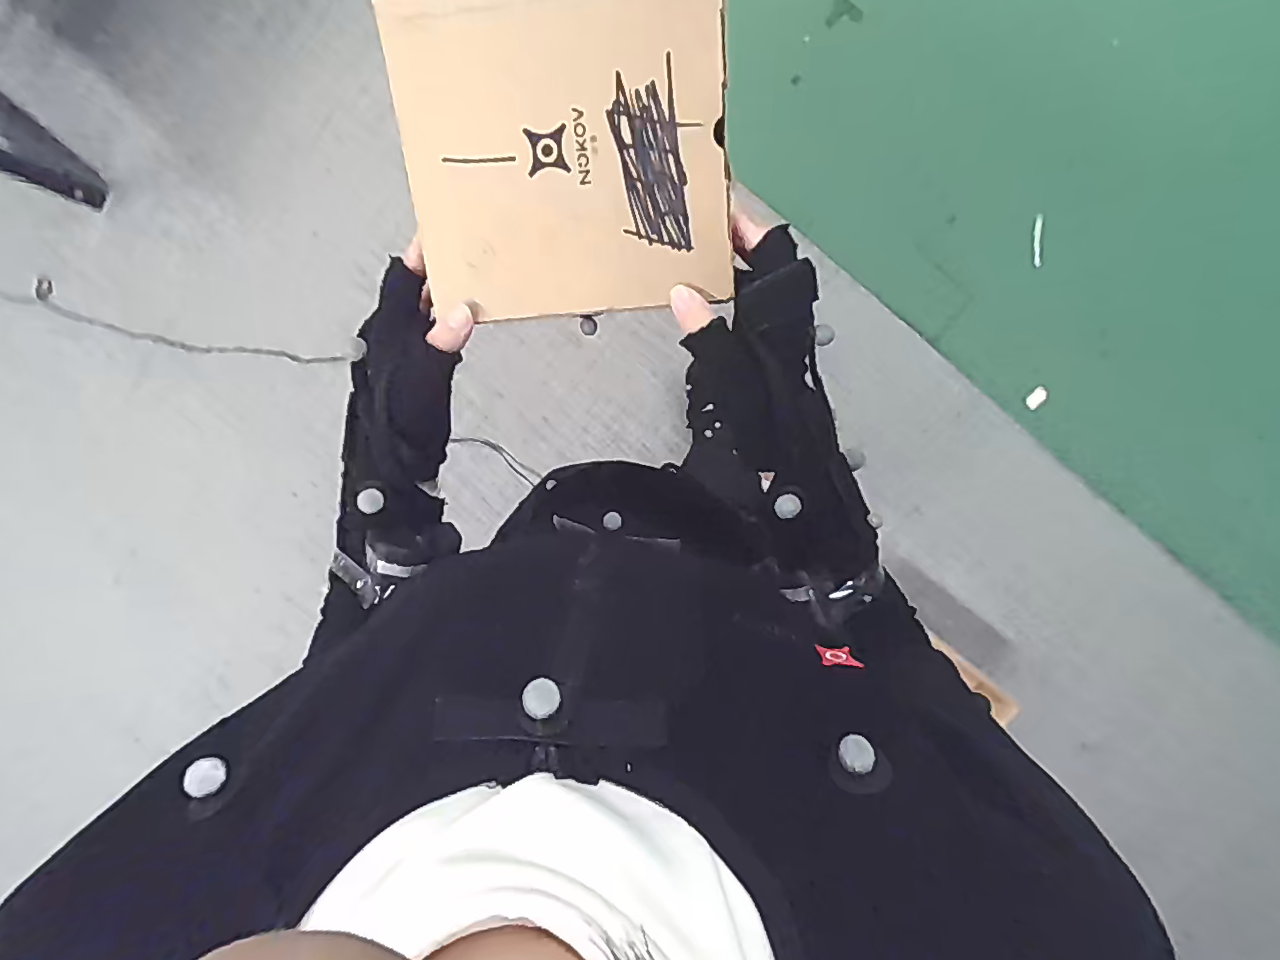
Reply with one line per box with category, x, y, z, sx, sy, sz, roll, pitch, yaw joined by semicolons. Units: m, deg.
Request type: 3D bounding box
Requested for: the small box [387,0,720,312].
small box;-0.039;-0.214;0.383;0.179;0.176;0.168;-3;108;6
